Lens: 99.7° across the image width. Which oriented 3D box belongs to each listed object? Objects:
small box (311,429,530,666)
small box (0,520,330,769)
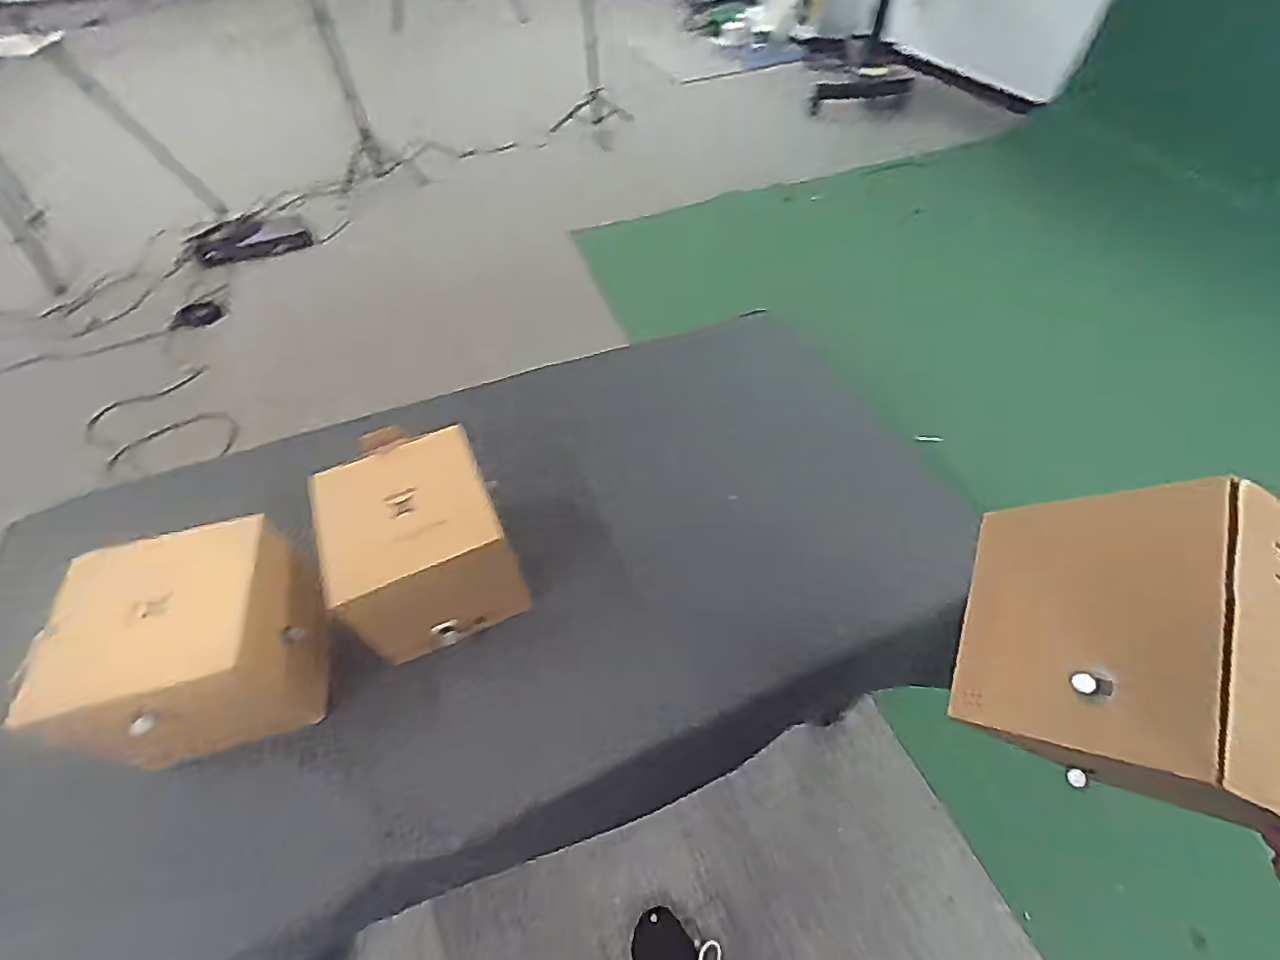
[{"bbox_3d":[-0.241,0.079,0.617,0.168,0.176,0.179,-23,55,-15],"label":"small box"},{"bbox_3d":[-0.442,0.168,0.547,0.179,0.176,0.168,-14,52,-9],"label":"small box"}]
